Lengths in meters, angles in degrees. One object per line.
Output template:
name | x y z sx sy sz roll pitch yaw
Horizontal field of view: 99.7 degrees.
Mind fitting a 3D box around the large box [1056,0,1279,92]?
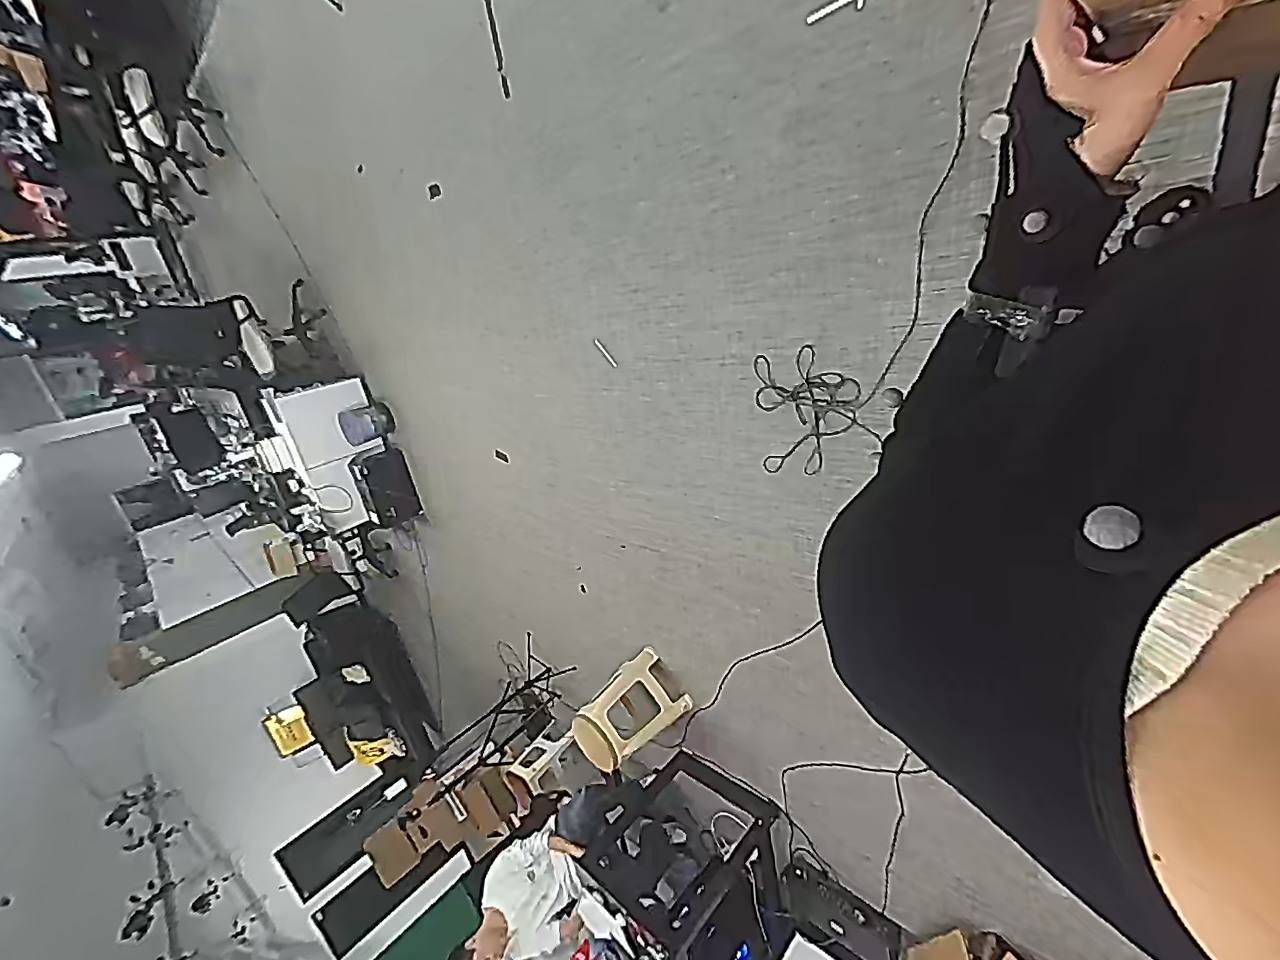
large box | 0.378 -0.352 0.122 0.408 0.320 0.320 21 118 45
